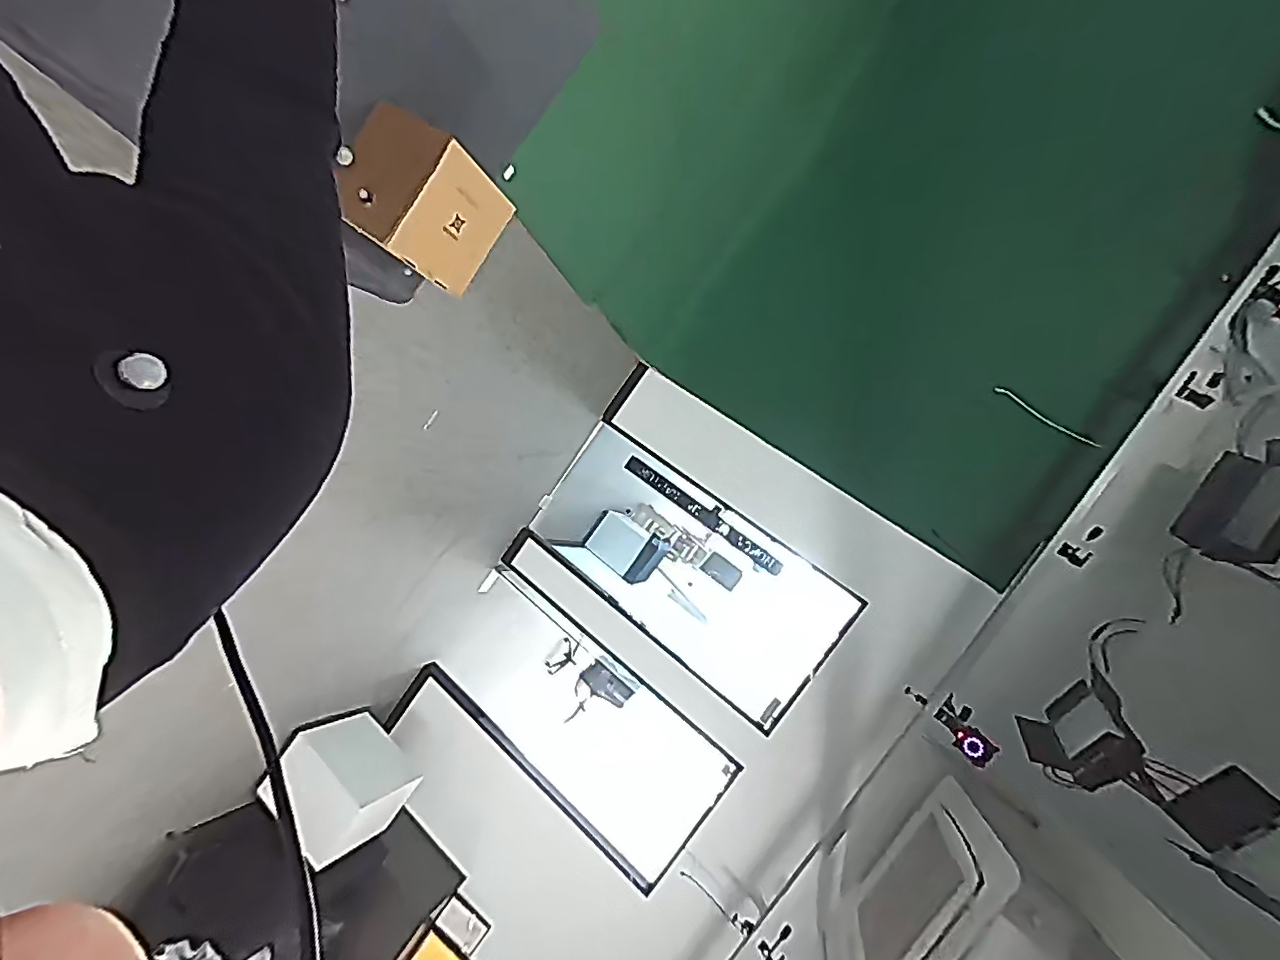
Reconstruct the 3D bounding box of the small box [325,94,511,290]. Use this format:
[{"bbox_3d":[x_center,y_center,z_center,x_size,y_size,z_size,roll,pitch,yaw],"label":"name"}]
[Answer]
[{"bbox_3d":[-0.343,-0.437,0.833,0.179,0.176,0.168,-55,163,4],"label":"small box"}]
